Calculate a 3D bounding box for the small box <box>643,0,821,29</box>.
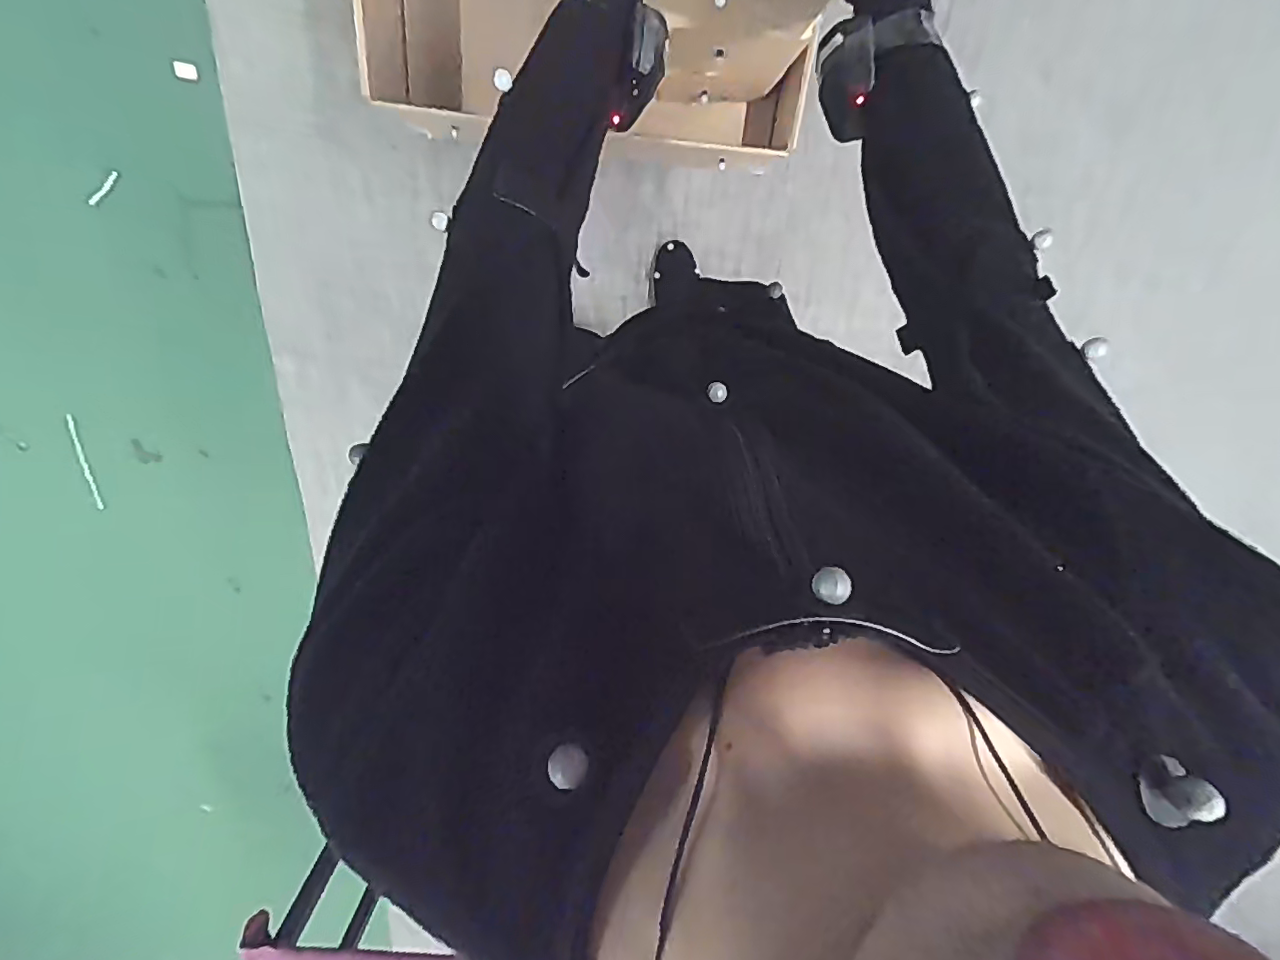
[{"bbox_3d":[0.091,-0.507,0.446,0.179,0.176,0.168,10,116,-1],"label":"small box"}]
